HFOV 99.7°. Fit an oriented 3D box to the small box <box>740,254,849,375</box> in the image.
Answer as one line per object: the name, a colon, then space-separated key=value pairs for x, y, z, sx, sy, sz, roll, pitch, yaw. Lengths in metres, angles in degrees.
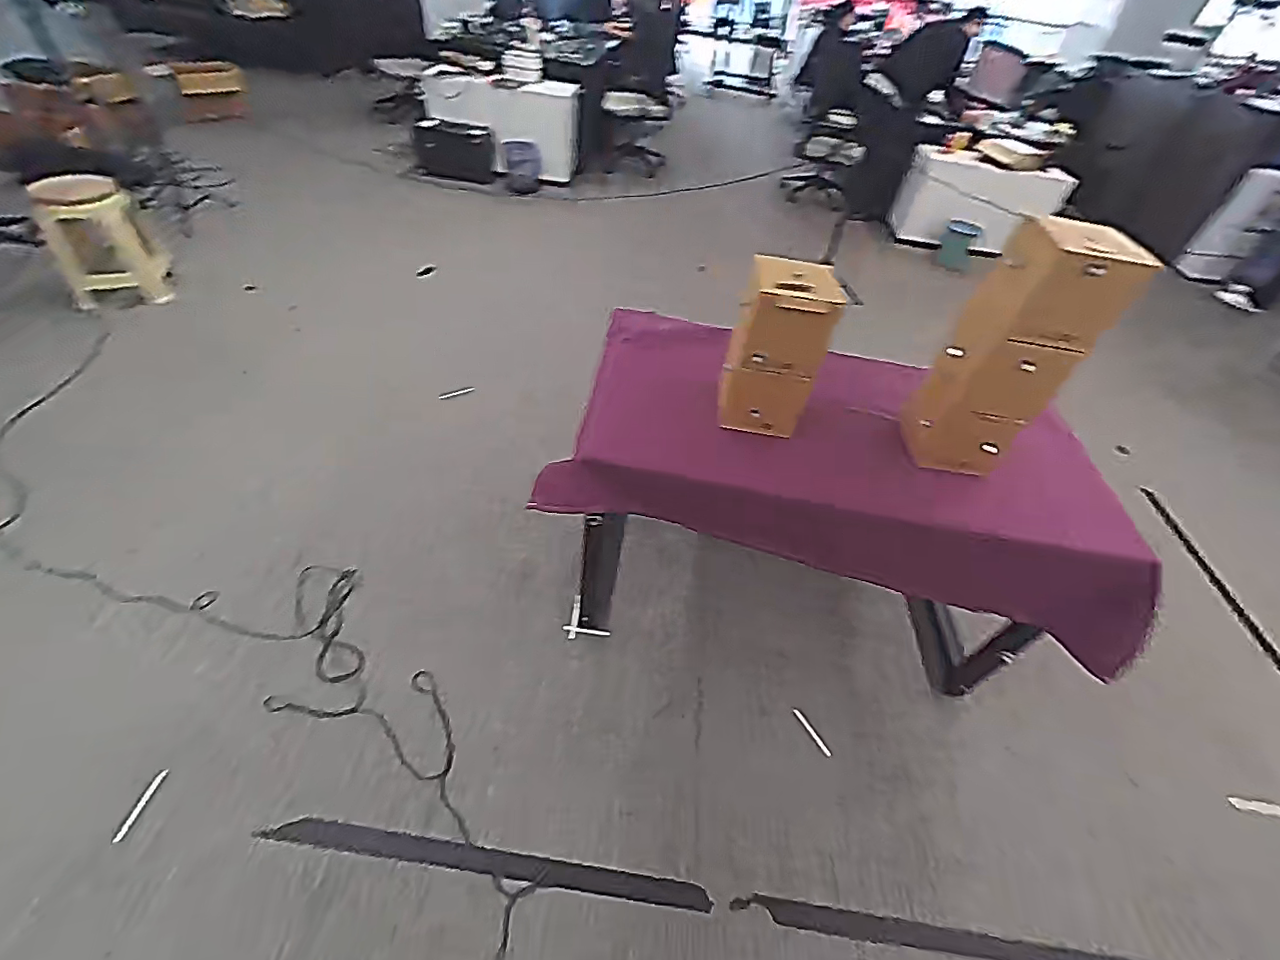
small box: x=0.310 y=-0.340 z=1.121 sx=0.168 sy=0.176 sz=0.179 roll=9 pitch=46 yaw=-2

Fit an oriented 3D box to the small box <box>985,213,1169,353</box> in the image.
small box: x=0.774 y=-0.359 z=0.986 sx=0.168 sy=0.176 sz=0.179 roll=10 pitch=46 yaw=0

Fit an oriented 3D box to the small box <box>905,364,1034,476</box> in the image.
small box: x=0.729 y=-0.132 z=1.220 sx=0.168 sy=0.176 sz=0.179 roll=10 pitch=45 yaw=0

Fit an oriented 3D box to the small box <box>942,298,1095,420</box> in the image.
small box: x=0.748 y=-0.243 z=1.100 sx=0.179 sy=0.176 sz=0.168 roll=10 pitch=47 yaw=-1

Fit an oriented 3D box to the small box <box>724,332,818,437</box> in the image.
small box: x=0.290 y=-0.227 z=1.238 sx=0.168 sy=0.176 sz=0.179 roll=10 pitch=47 yaw=-1
